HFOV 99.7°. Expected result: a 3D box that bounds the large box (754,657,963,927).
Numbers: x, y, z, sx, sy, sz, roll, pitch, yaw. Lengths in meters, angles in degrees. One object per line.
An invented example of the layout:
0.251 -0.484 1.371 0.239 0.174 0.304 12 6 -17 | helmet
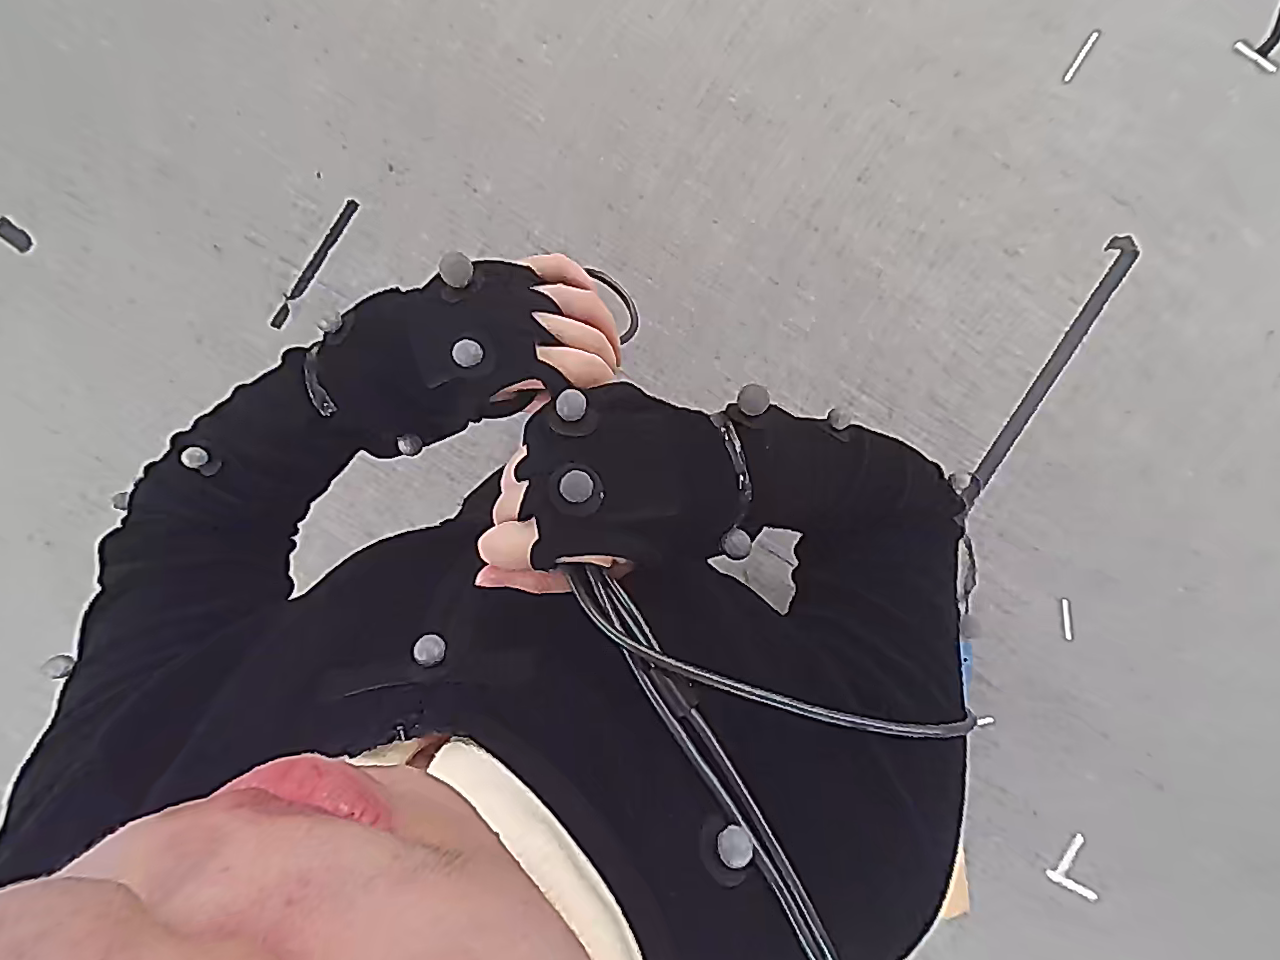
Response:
0.465 0.665 1.215 0.320 0.320 0.408 -7 94 -1 | large box
